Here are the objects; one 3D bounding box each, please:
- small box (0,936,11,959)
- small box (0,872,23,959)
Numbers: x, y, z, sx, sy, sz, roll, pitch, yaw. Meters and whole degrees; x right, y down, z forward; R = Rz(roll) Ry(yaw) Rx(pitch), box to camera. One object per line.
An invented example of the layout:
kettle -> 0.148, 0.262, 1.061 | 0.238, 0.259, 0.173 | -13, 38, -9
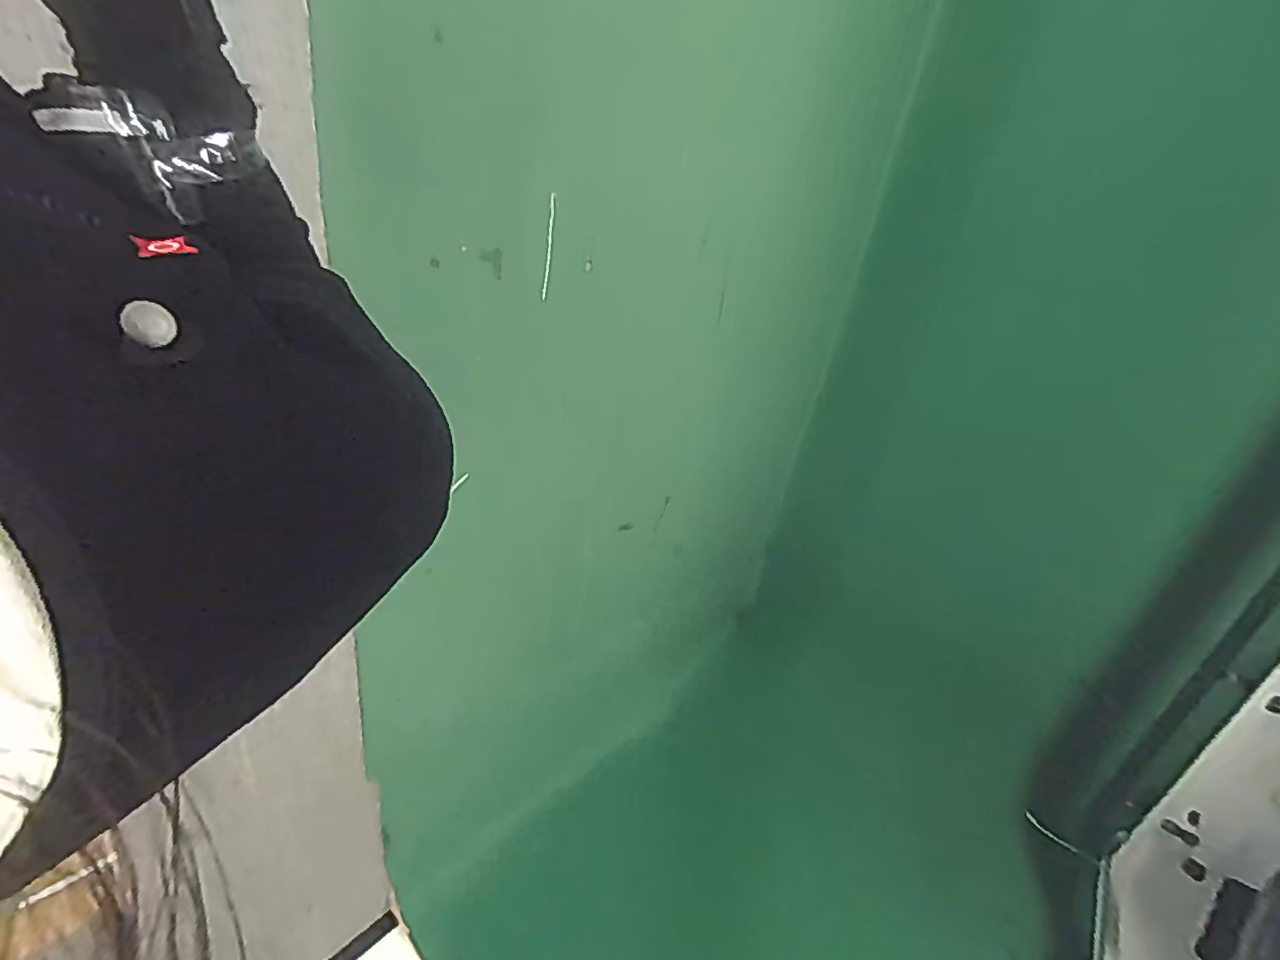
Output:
small box -> -1.080, 0.869, 0.820 | 0.179, 0.176, 0.168 | -13, 123, -50
small box -> -1.198, 0.811, 0.921 | 0.168, 0.176, 0.179 | -16, 124, -48
